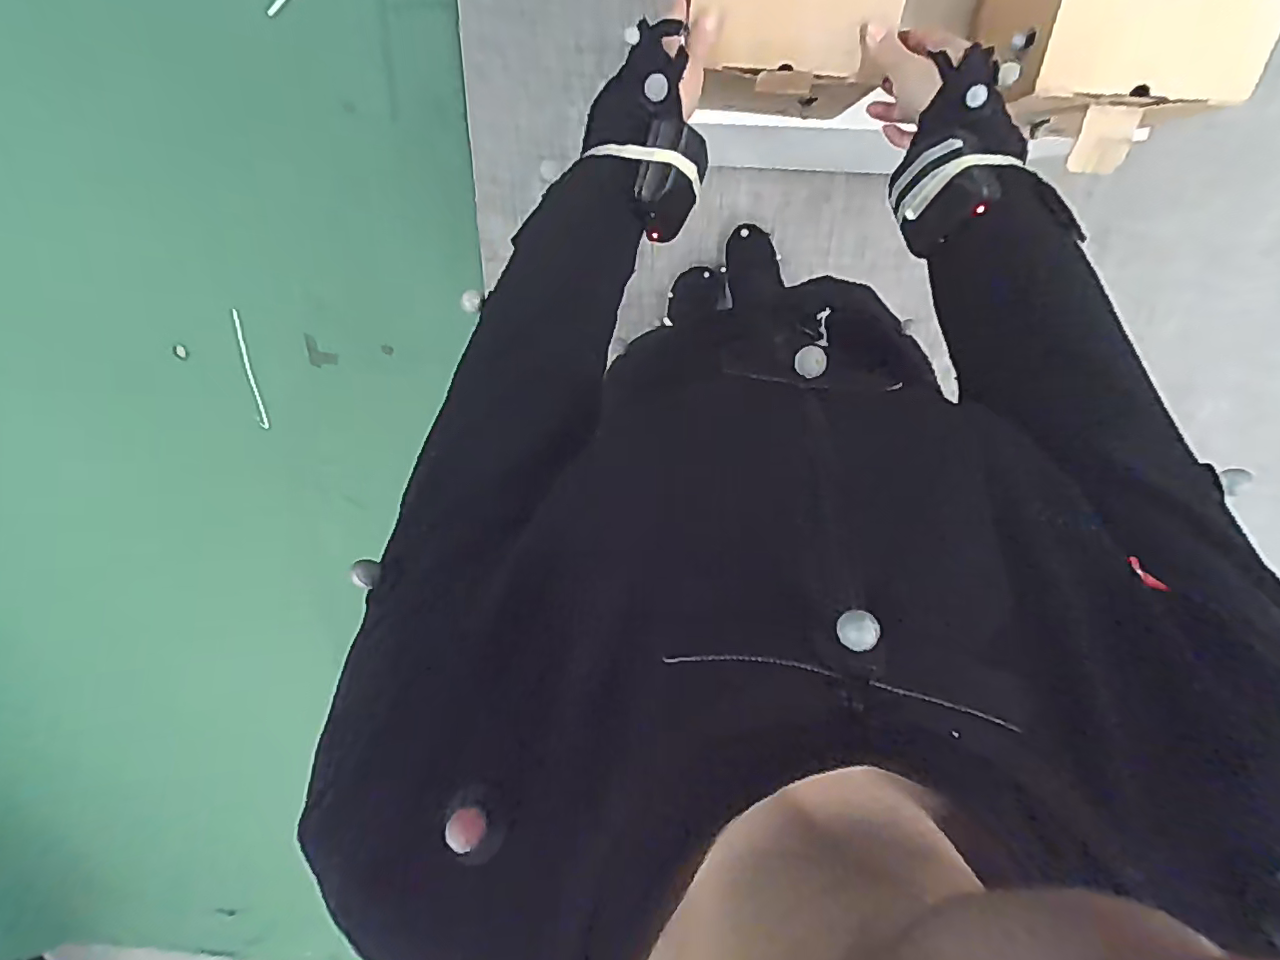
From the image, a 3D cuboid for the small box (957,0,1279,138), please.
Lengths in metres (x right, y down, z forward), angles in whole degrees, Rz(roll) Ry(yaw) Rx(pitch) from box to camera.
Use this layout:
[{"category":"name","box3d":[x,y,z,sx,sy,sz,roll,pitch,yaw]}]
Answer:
[{"category":"small box","box3d":[0.404,-0.409,0.457,0.168,0.176,0.179,5,116,3]}]

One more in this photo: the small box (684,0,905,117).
[{"category":"small box","box3d":[0.130,-0.436,0.470,0.168,0.176,0.179,5,114,1]}]
